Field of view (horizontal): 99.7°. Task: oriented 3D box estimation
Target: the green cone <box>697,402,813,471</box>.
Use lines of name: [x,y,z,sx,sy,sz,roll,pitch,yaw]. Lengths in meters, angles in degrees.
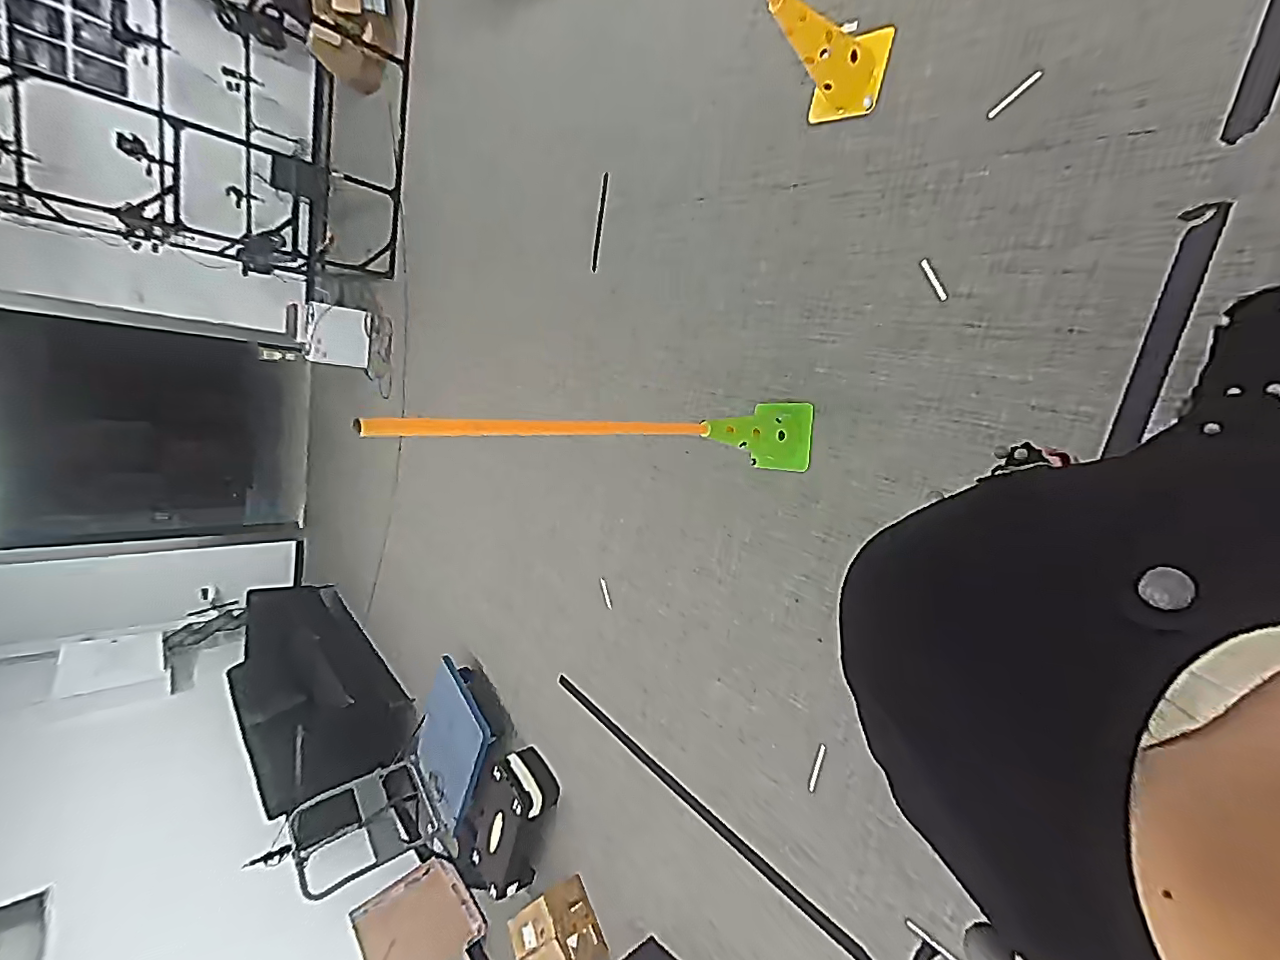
green cone: [0.293,-0.135,1.491,0.200,0.368,0.202,7,94,47]
